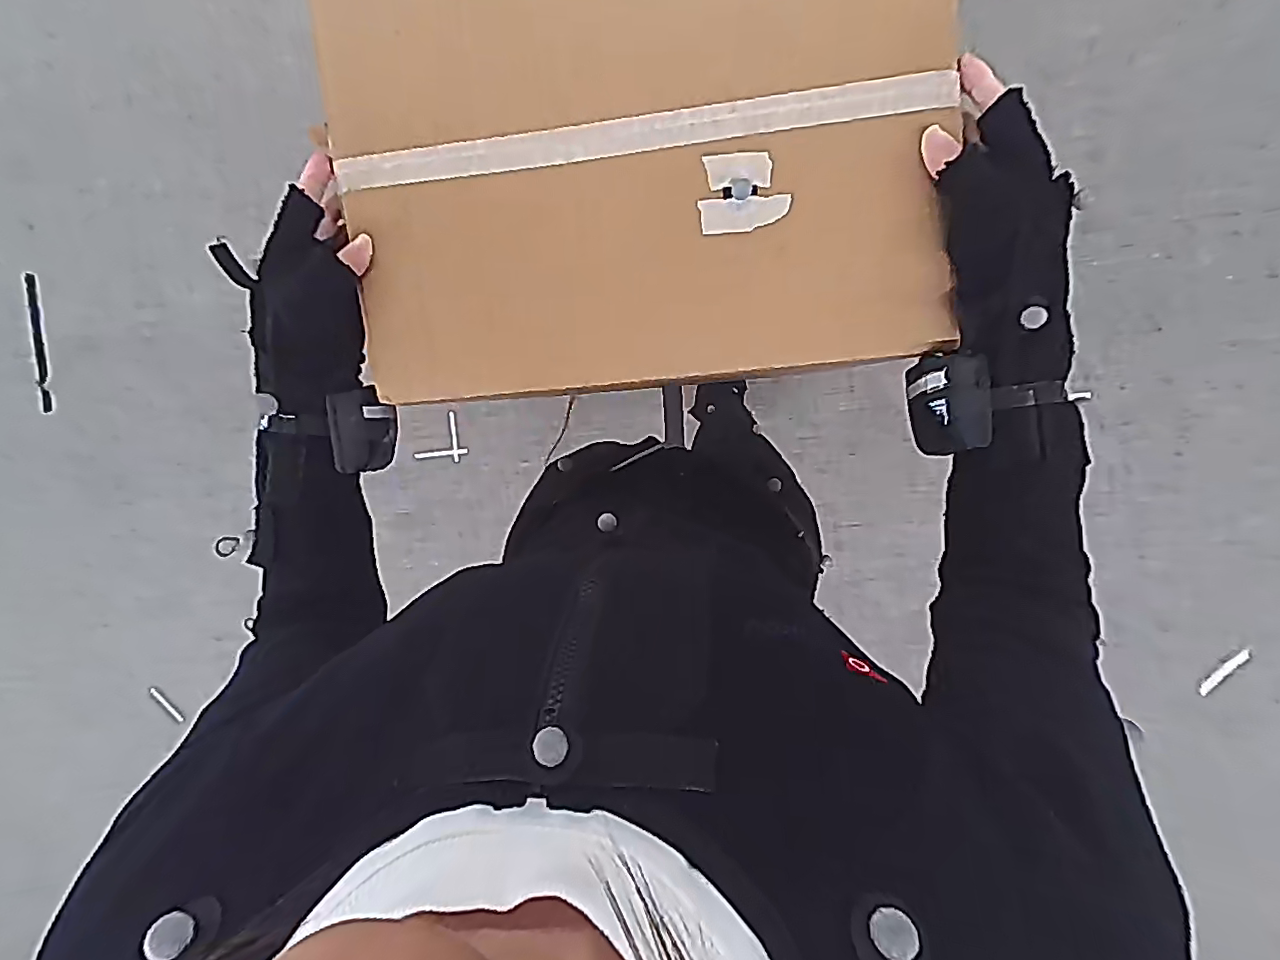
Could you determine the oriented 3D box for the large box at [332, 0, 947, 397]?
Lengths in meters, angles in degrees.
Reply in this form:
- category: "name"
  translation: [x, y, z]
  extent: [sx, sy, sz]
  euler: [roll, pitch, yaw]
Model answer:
- category: "large box"
  translation: [0.007, -0.256, 0.514]
  extent: [0.408, 0.320, 0.320]
  euler: [-5, 99, 4]
